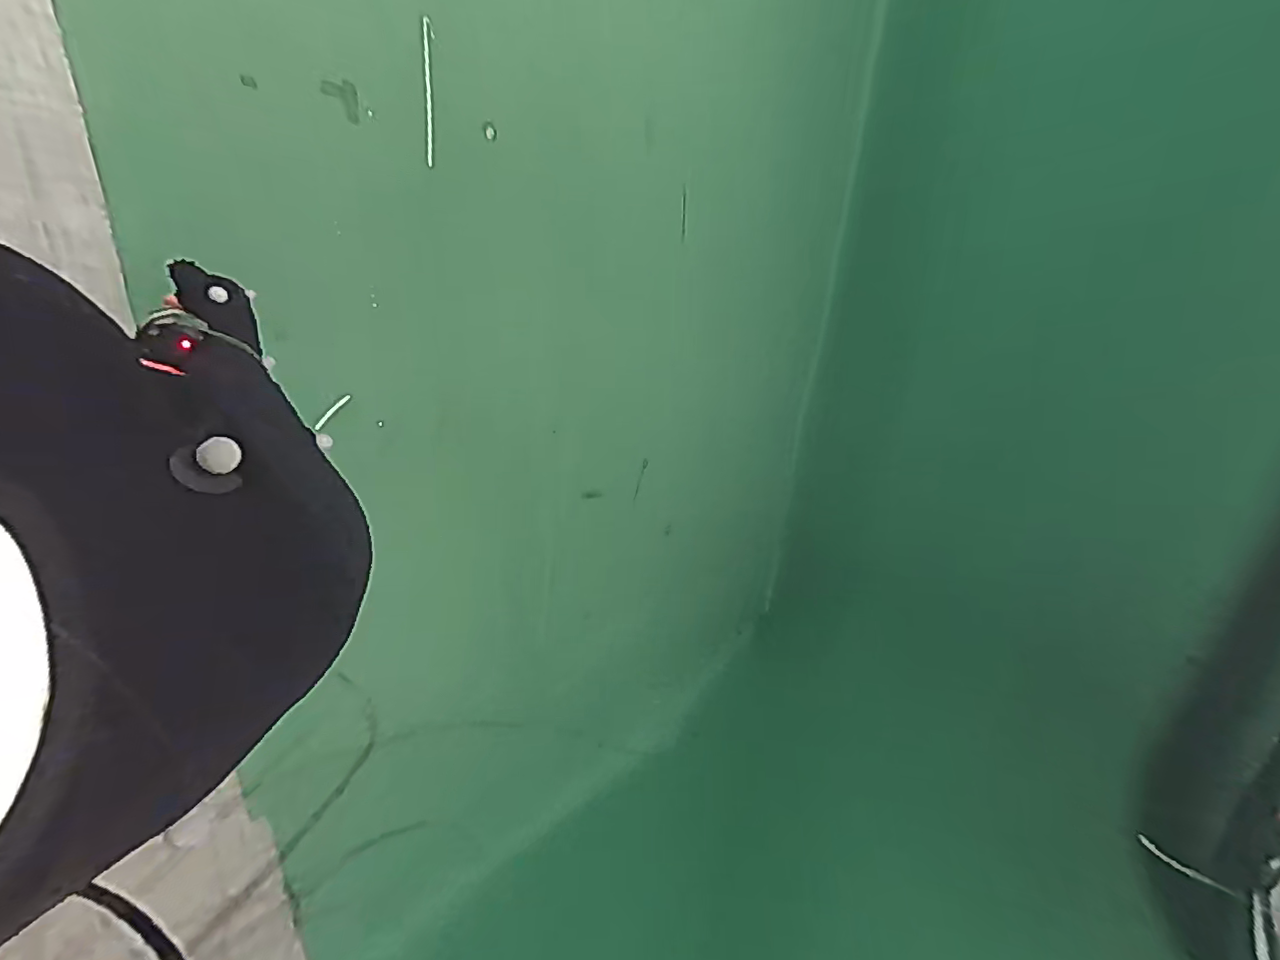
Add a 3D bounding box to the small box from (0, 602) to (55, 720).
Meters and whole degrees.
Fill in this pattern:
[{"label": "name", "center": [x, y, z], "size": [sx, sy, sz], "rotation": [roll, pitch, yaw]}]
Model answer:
[{"label": "small box", "center": [-1.197, 0.328, 0.948], "size": [0.168, 0.176, 0.179], "rotation": [-35, 133, -36]}]
